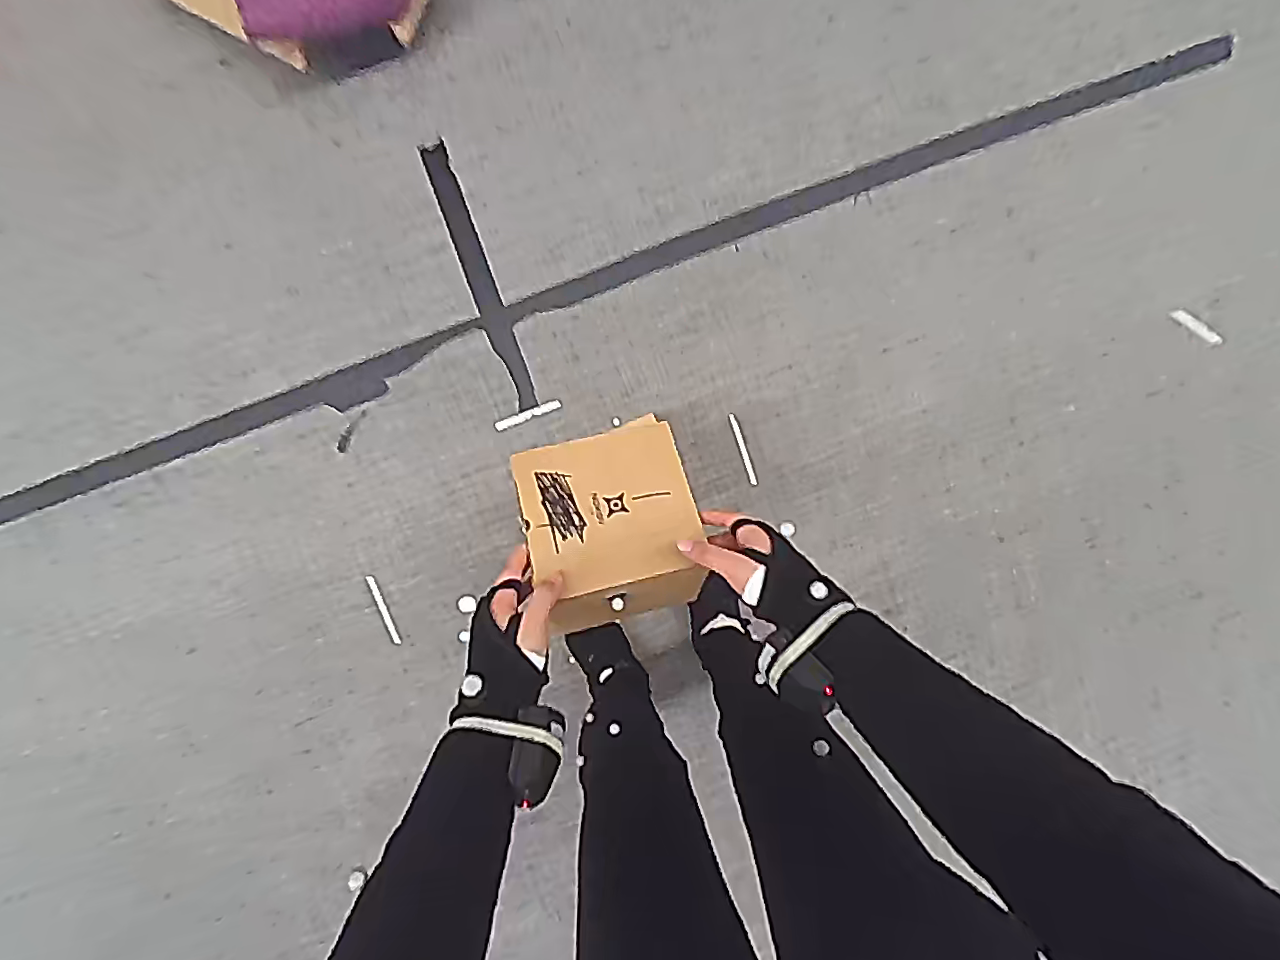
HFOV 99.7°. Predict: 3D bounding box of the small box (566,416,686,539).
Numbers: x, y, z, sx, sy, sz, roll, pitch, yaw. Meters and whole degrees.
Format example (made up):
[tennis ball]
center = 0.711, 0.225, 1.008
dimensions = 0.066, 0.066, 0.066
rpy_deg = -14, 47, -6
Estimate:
[small box]
center = -0.027, -0.013, 1.019
dimensions = 0.168, 0.176, 0.179
rpy_deg = -23, 97, -1
